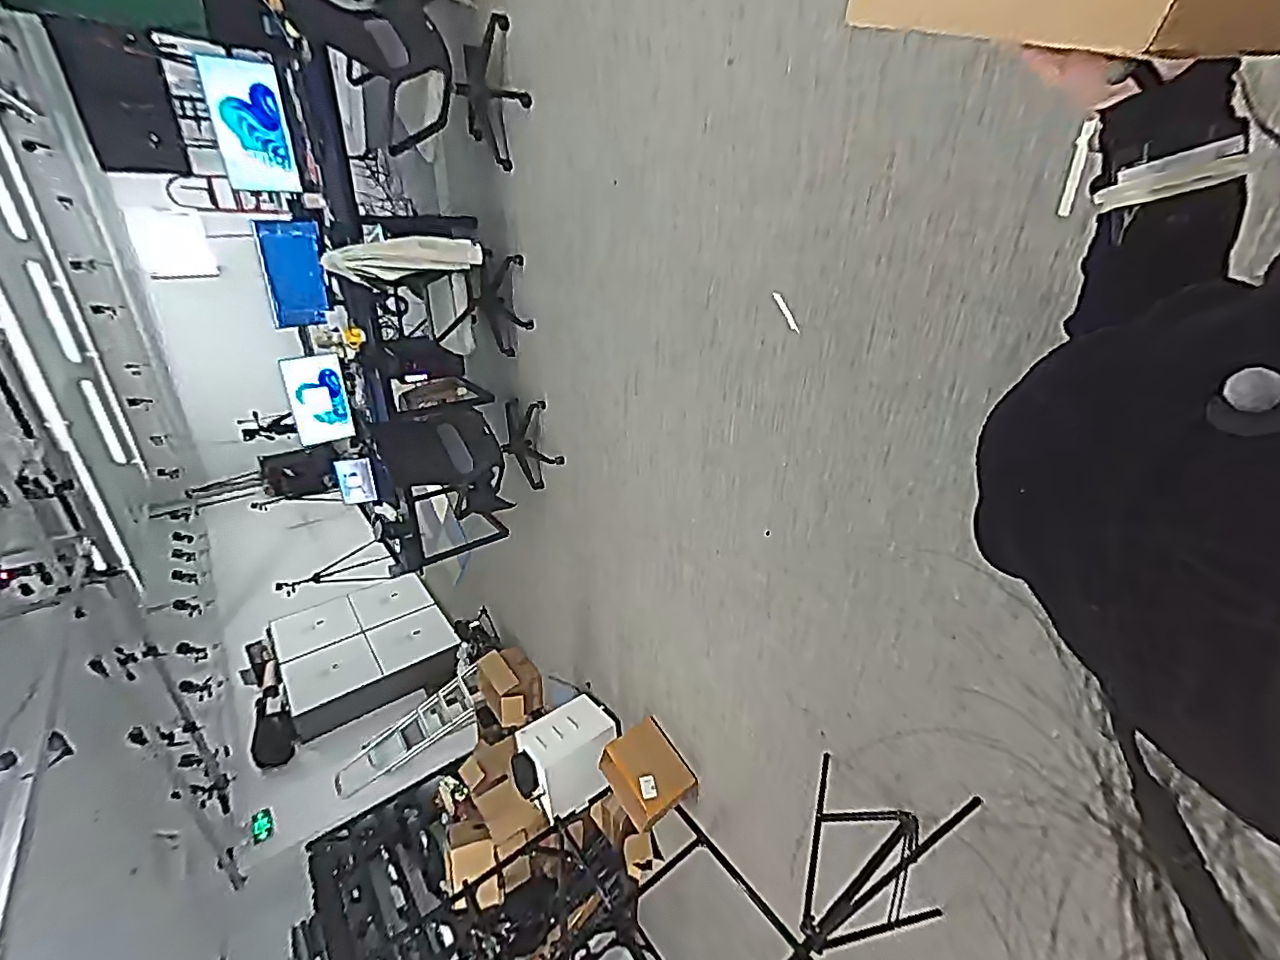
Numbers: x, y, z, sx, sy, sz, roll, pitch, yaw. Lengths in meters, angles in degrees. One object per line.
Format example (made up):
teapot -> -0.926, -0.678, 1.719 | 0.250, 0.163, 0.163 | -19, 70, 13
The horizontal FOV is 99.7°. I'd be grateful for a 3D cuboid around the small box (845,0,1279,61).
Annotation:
small box -> 0.241, -0.313, 0.256 | 0.179, 0.176, 0.168 | 52, 150, 39
